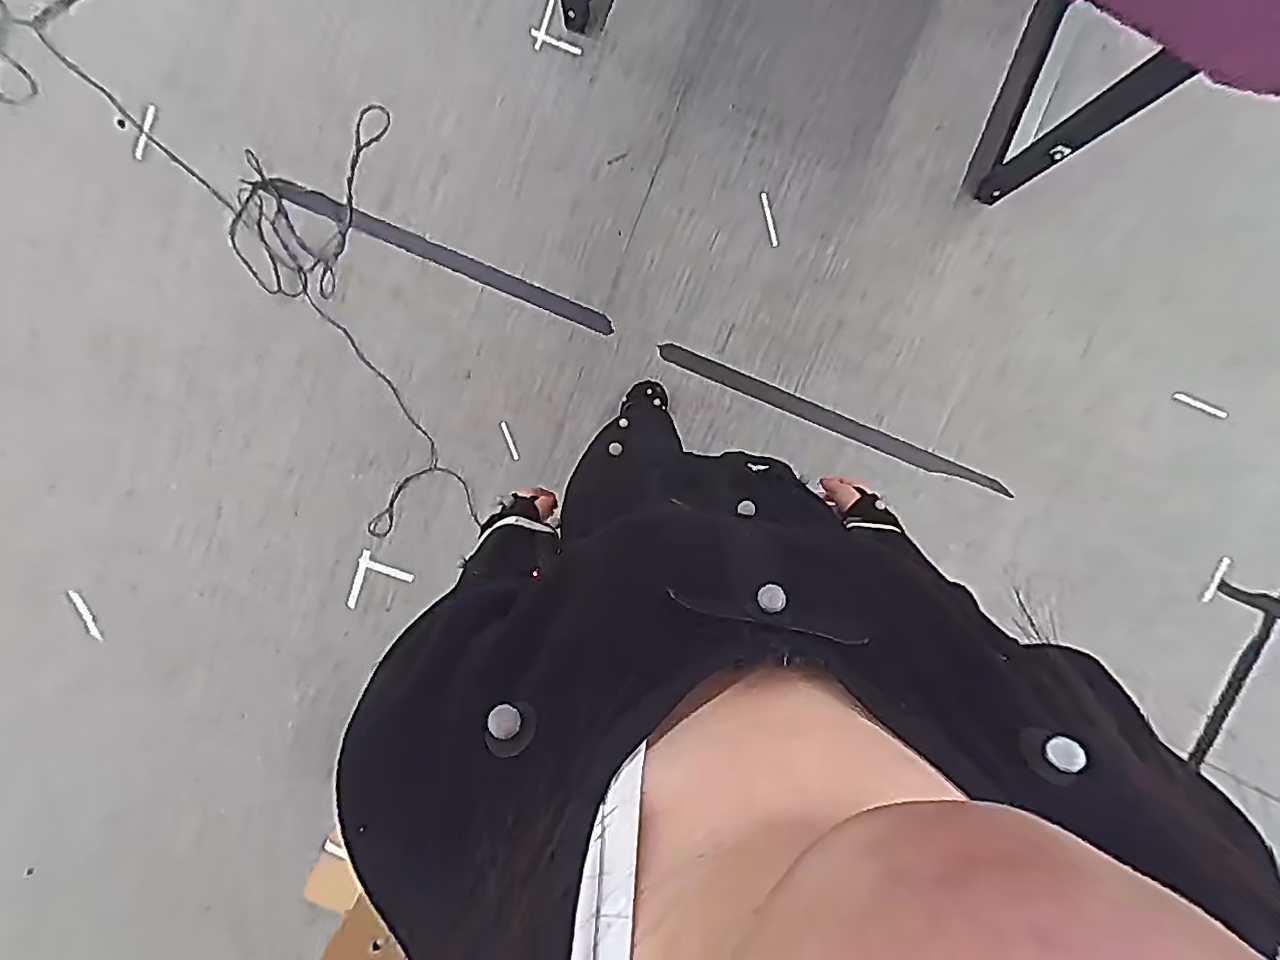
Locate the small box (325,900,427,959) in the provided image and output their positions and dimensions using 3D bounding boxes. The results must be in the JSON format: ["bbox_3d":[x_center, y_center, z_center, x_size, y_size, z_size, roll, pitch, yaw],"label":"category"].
[{"bbox_3d":[-0.535,0.967,1.035,0.168,0.176,0.179,26,95,-2],"label":"small box"}]
